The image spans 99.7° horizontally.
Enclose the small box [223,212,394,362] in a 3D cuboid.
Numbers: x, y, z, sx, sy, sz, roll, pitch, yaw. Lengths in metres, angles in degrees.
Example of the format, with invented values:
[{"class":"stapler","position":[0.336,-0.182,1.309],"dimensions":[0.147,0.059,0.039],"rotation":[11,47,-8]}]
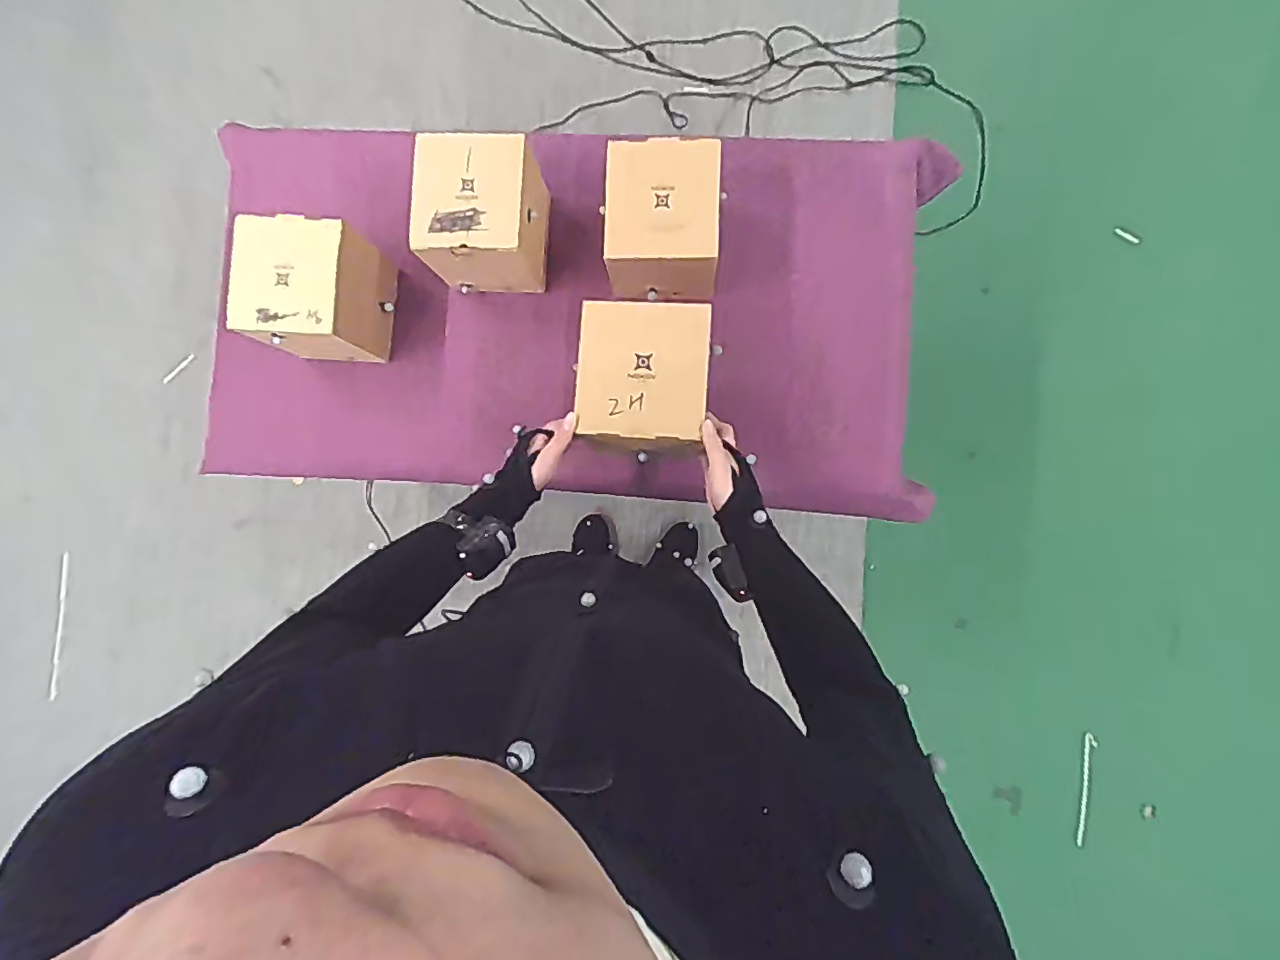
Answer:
[{"class":"small box","position":[-0.521,-0.303,0.875],"dimensions":[0.168,0.176,0.179],"rotation":[4,88,5]}]

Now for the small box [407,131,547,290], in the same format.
[{"class":"small box","position":[-0.250,-0.419,0.866],"dimensions":[0.168,0.176,0.179],"rotation":[3,87,3]}]

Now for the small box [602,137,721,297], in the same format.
[{"class":"small box","position":[0.034,-0.402,0.851],"dimensions":[0.168,0.176,0.179],"rotation":[2,89,4]}]

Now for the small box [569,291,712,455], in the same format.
[{"class":"small box","position":[0.007,-0.137,0.743],"dimensions":[0.168,0.176,0.179],"rotation":[4,85,6]}]
